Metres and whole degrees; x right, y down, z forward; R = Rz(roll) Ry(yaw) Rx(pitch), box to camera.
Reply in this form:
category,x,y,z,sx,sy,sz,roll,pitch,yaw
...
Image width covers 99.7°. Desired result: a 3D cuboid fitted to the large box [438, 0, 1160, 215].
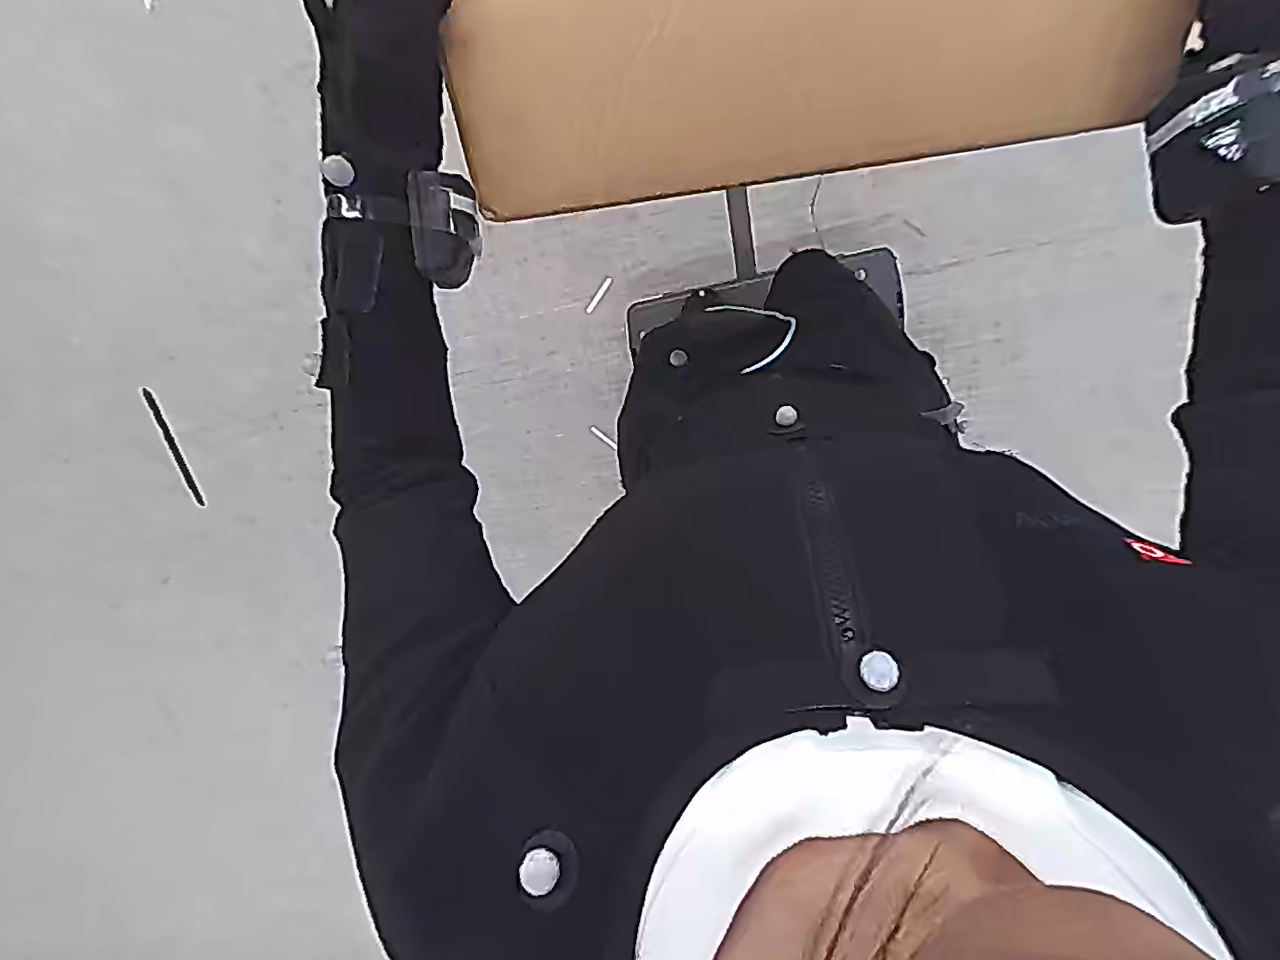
category,x,y,z,sx,sy,sz,roll,pitch,yaw
large box,0.081,-0.407,0.398,0.408,0.320,0.320,-5,121,8
